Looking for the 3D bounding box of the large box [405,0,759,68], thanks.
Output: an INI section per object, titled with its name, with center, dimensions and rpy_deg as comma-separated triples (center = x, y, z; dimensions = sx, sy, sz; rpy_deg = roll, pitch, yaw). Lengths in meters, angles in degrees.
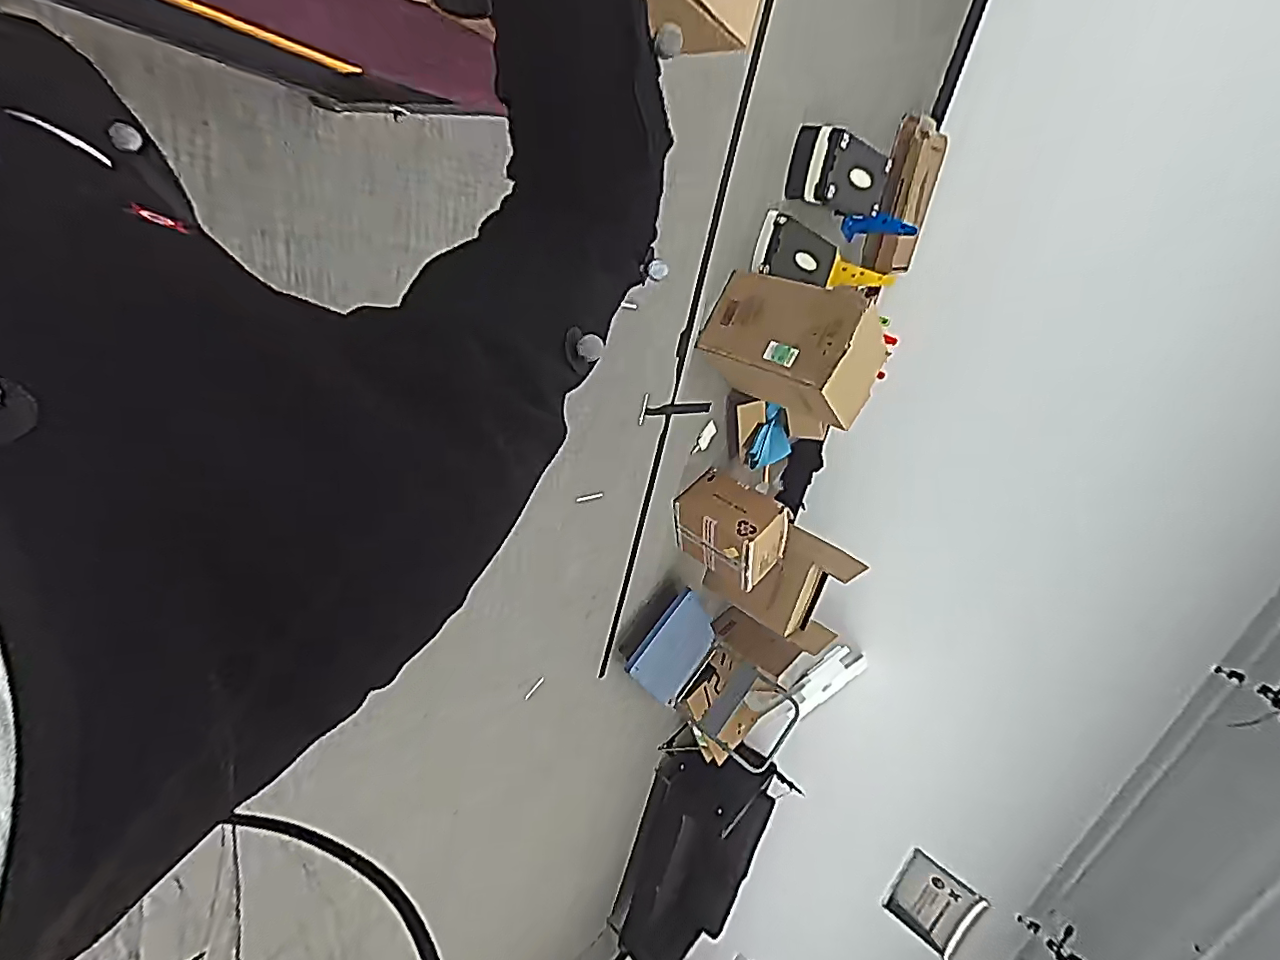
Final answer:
[large box]
center = -0.074, -0.594, 0.386
dimensions = 0.320, 0.320, 0.408
rpy_deg = -13, 123, -50
